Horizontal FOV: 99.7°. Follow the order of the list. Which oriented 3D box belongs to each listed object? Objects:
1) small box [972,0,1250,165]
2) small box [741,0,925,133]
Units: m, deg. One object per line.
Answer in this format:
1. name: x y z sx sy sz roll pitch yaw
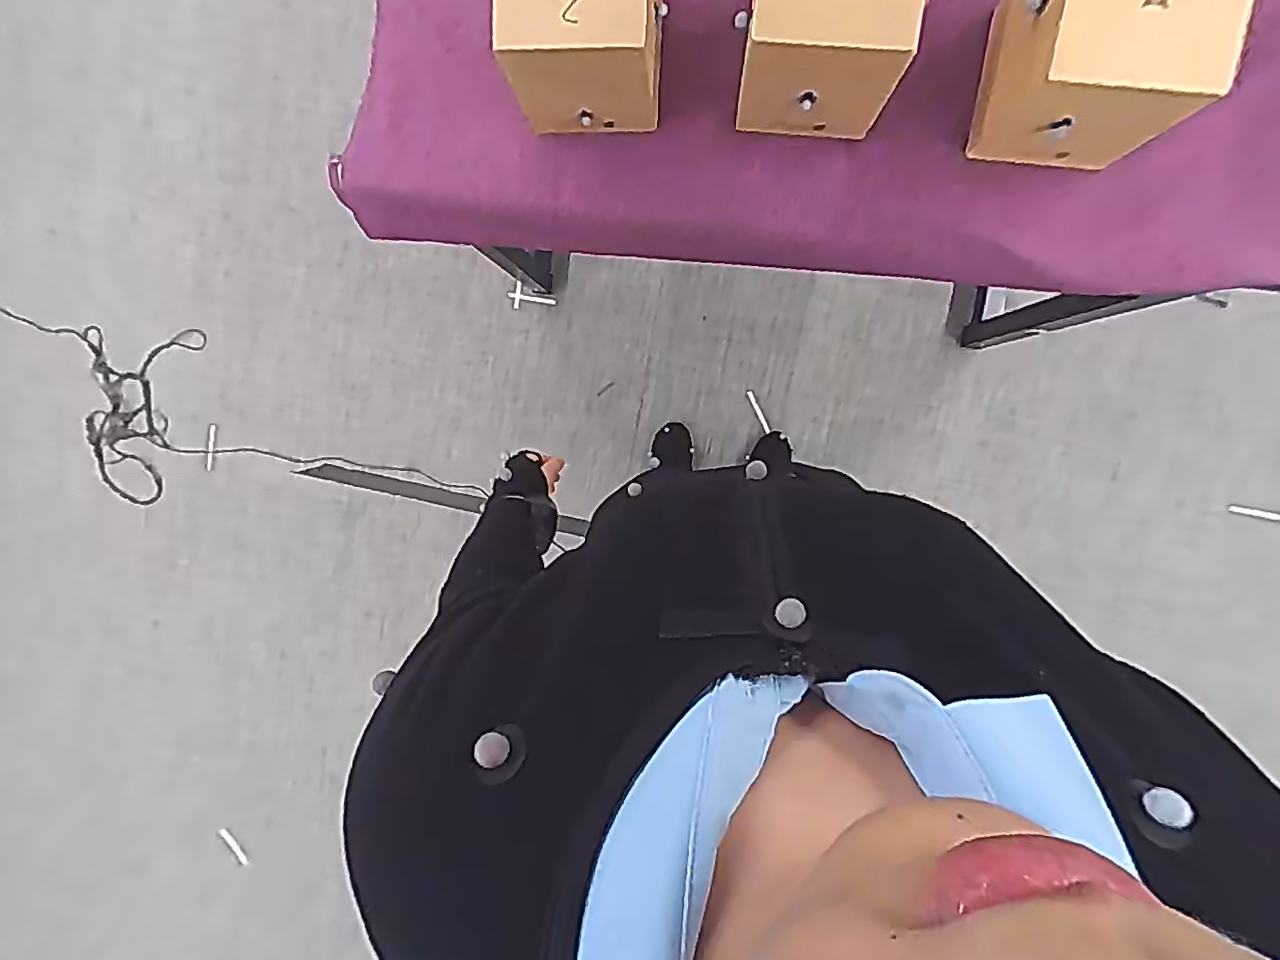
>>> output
1. small box: 0.497 -0.474 0.590 0.168 0.176 0.179 9 97 5
2. small box: 0.212 -0.528 0.611 0.168 0.176 0.179 8 96 4
